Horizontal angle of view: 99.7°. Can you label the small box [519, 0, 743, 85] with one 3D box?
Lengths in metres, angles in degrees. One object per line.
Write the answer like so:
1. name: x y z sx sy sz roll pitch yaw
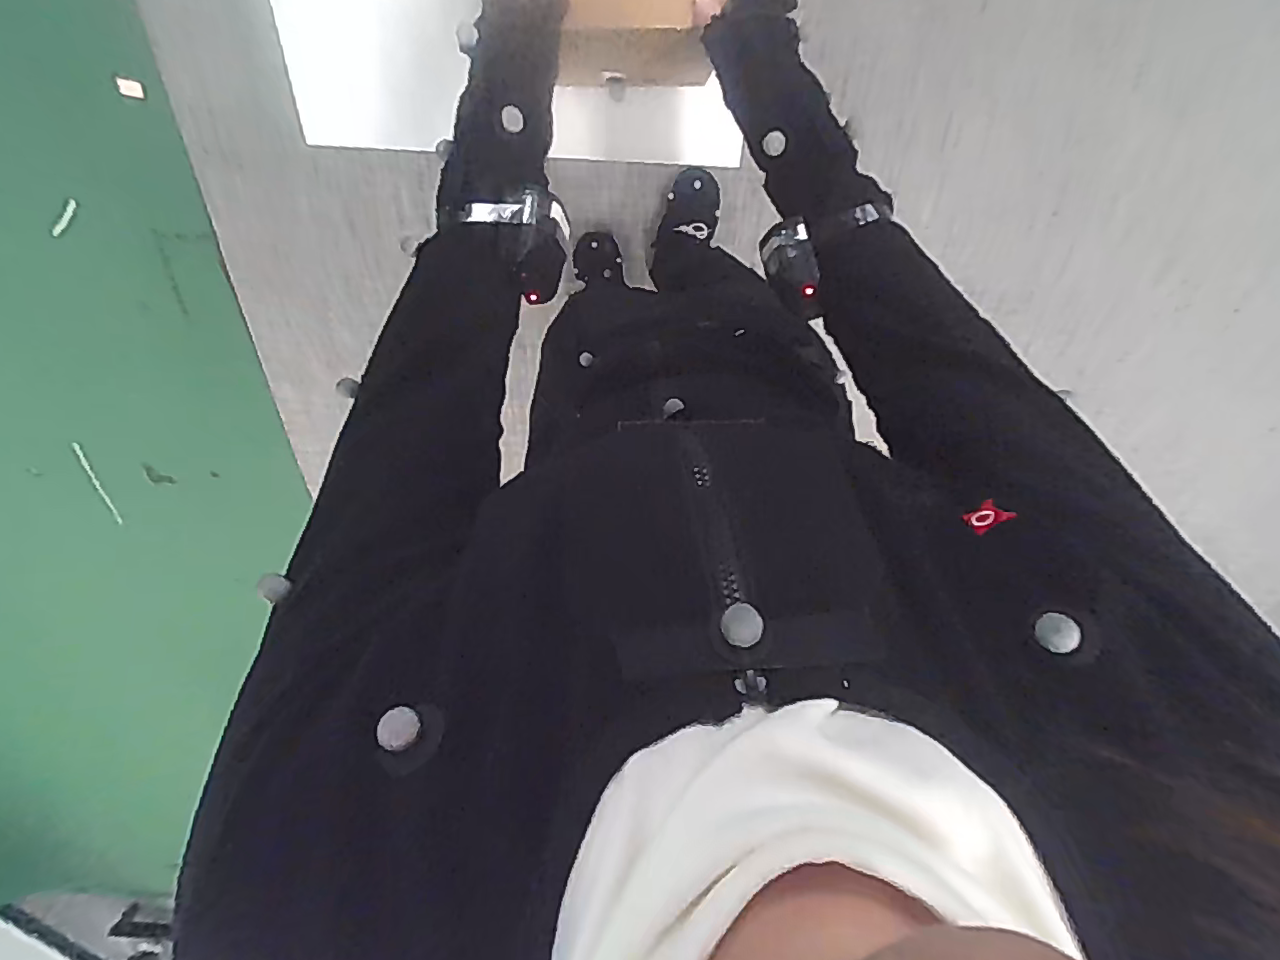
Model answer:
1. small box: -0.012 -0.447 0.434 0.168 0.176 0.179 -3 113 -1
